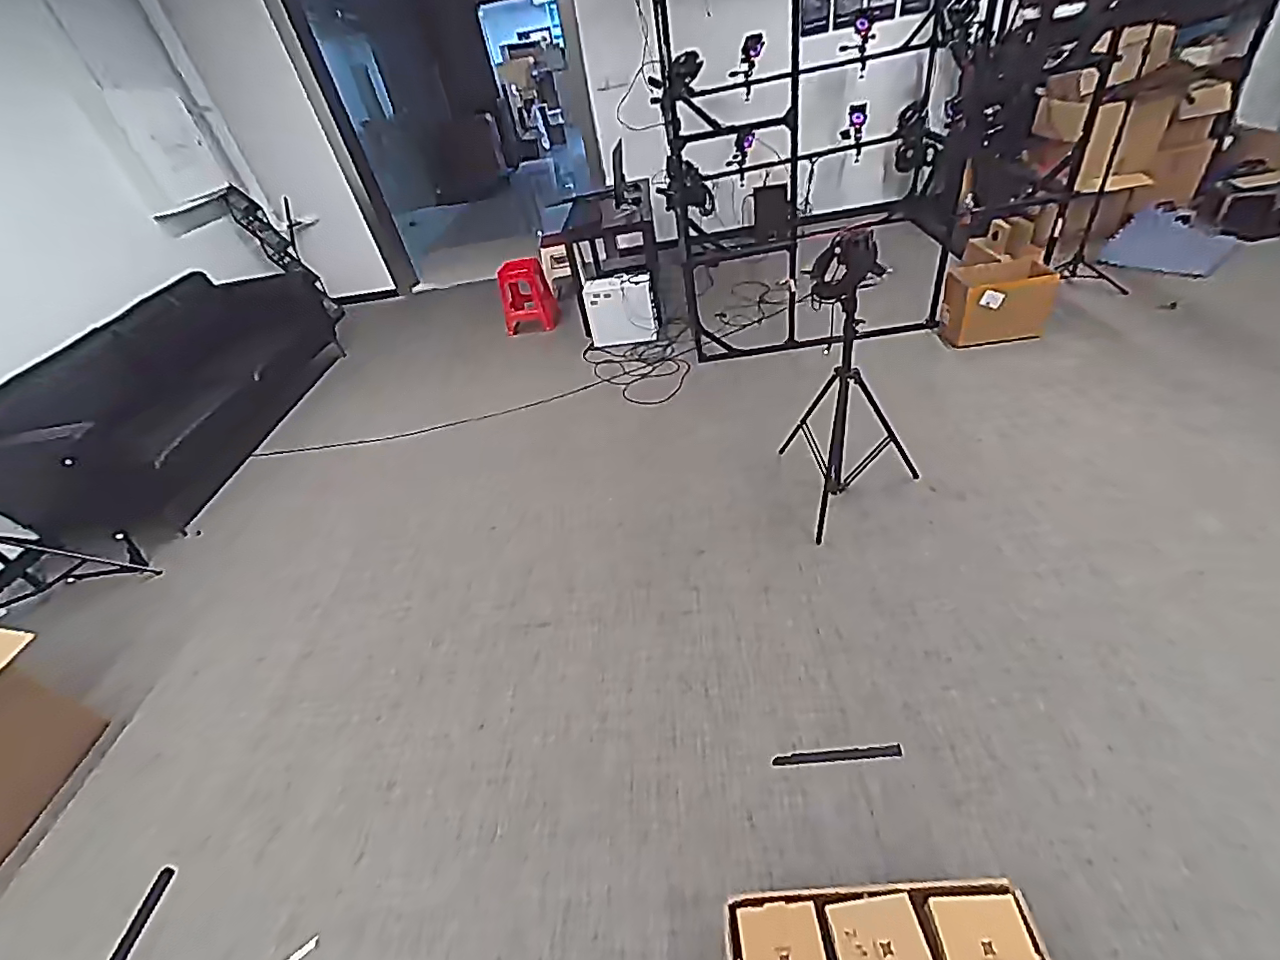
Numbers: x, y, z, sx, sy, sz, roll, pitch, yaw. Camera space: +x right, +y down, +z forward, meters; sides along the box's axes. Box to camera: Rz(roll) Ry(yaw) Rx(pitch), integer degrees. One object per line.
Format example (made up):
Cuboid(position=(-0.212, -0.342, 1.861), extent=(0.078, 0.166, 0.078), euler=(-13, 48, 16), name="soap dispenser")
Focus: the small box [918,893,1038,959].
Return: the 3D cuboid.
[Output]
Cuboid(position=(0.684, 0.963, 1.092), extent=(0.168, 0.176, 0.179), euler=(-8, 42, 7), name="small box")
